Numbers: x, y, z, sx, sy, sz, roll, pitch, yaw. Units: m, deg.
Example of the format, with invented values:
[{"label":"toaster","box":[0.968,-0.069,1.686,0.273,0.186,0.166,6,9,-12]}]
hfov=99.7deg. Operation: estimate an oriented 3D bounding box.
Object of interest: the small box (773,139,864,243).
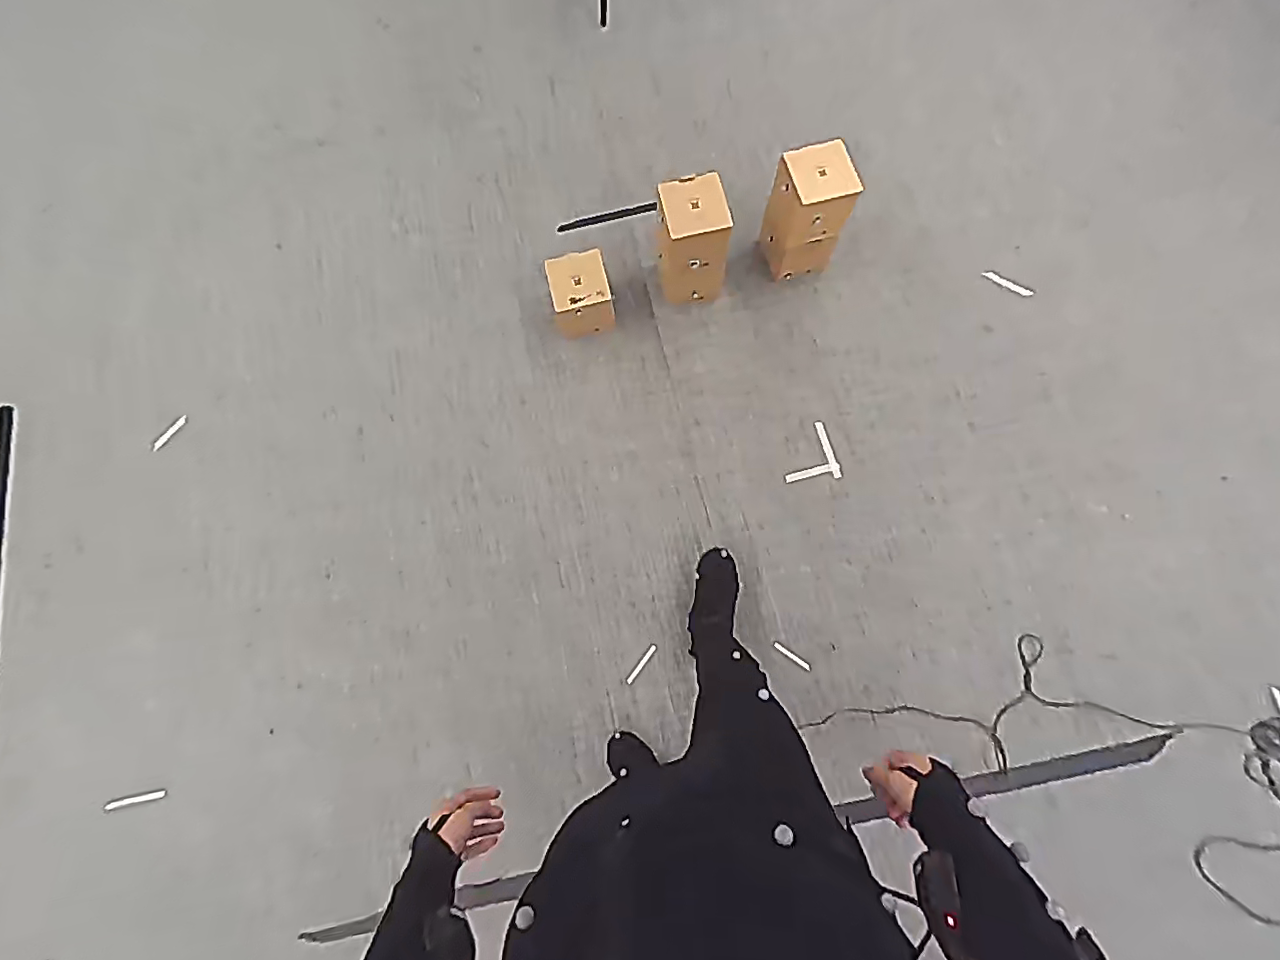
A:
[{"label":"small box","box":[0.477,-0.774,1.471,0.168,0.176,0.179,-15,75,-2]}]

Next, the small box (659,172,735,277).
[{"label":"small box","box":[0.146,-0.683,1.457,0.168,0.176,0.179,-12,75,-1]}]

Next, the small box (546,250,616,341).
[{"label":"small box","box":[-0.172,-0.543,1.604,0.168,0.176,0.179,-14,75,-1]}]

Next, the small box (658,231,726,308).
[{"label":"small box","box":[0.149,-0.648,1.617,0.168,0.176,0.179,-12,76,-1]}]

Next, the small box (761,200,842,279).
[{"label":"small box","box":[0.479,-0.733,1.628,0.168,0.176,0.179,-15,75,-2]}]
